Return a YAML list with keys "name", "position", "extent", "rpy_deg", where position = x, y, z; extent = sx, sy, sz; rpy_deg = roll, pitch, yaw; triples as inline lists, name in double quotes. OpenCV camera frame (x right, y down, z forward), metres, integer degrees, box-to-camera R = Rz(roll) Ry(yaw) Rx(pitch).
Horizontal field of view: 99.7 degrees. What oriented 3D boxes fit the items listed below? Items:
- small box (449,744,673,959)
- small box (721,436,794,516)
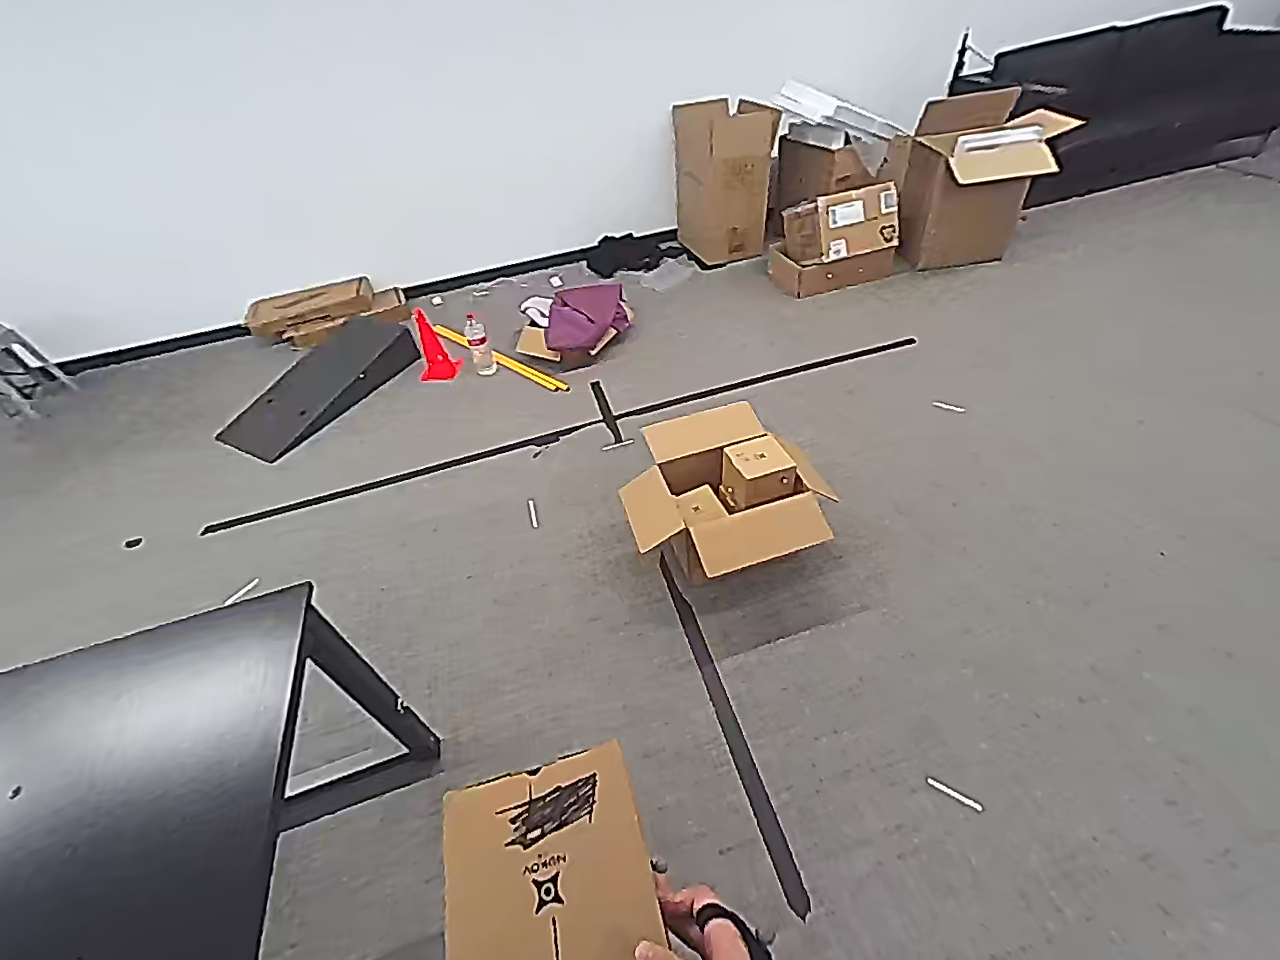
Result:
- name: "small box"
  position: [-0.069, 0.382, 0.502]
  extent: [0.168, 0.176, 0.179]
  rpy_deg: [-14, 48, -7]
- name: "small box"
  position: [0.373, -0.012, 1.756]
  extent: [0.179, 0.176, 0.168]
  rpy_deg: [-17, 44, -10]
